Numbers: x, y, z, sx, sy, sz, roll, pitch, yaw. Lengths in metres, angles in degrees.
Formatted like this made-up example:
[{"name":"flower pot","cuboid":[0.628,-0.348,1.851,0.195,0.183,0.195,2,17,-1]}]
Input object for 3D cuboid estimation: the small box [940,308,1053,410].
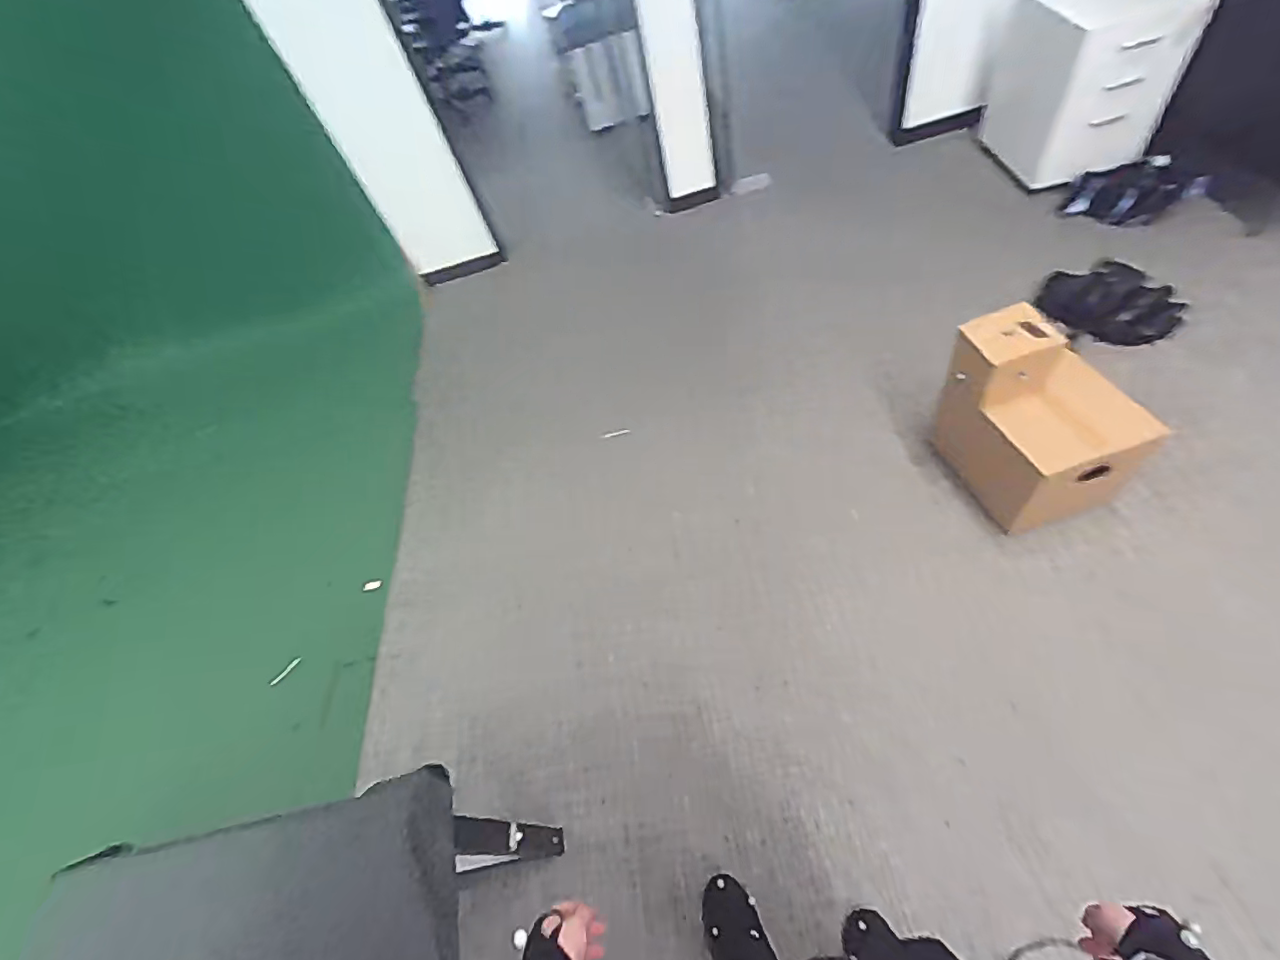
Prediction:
[{"name":"small box","cuboid":[0.929,-0.316,1.430,0.179,0.176,0.168,-19,52,6]}]
